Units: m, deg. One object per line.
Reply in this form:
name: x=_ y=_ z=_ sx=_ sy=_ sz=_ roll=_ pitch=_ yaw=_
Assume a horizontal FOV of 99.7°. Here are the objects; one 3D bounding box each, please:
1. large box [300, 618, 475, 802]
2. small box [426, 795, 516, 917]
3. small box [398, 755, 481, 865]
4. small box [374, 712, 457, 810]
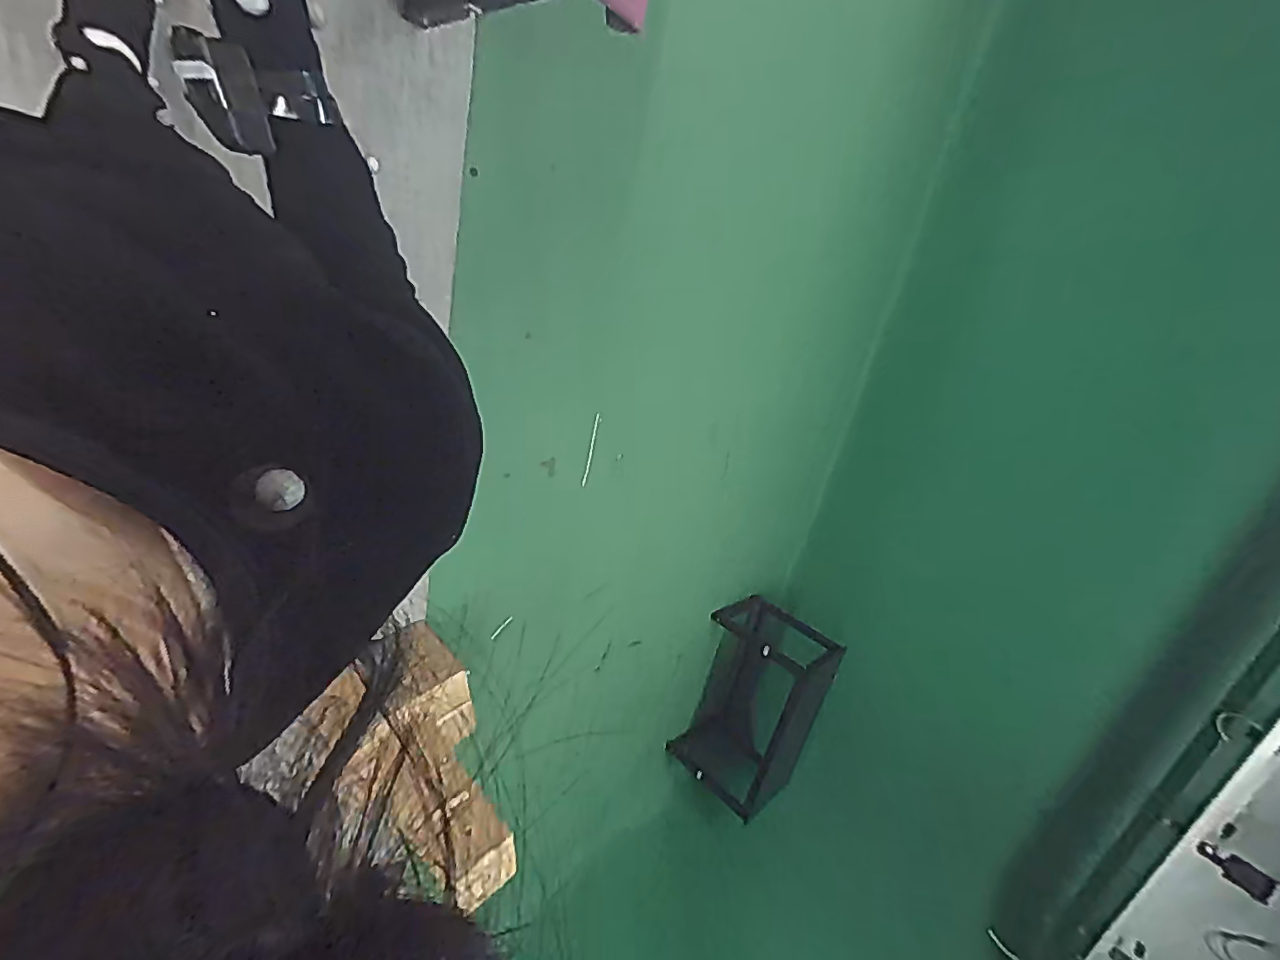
large box: x=-0.819 y=0.736 z=1.785 sx=0.408 sy=0.320 sz=0.320 roll=-26 pitch=132 yaw=-39
small box: x=-0.444 y=0.974 z=1.421 sx=0.168 sy=0.176 sz=0.179 roll=-21 pitch=125 yaw=-40
small box: x=-0.561 y=0.909 z=1.517 sx=0.168 sy=0.176 sz=0.179 roll=-19 pitch=126 yaw=-41
small box: x=-0.668 y=0.840 z=1.621 sx=0.179 sy=0.176 sz=0.168 roll=-21 pitch=126 yaw=-40
